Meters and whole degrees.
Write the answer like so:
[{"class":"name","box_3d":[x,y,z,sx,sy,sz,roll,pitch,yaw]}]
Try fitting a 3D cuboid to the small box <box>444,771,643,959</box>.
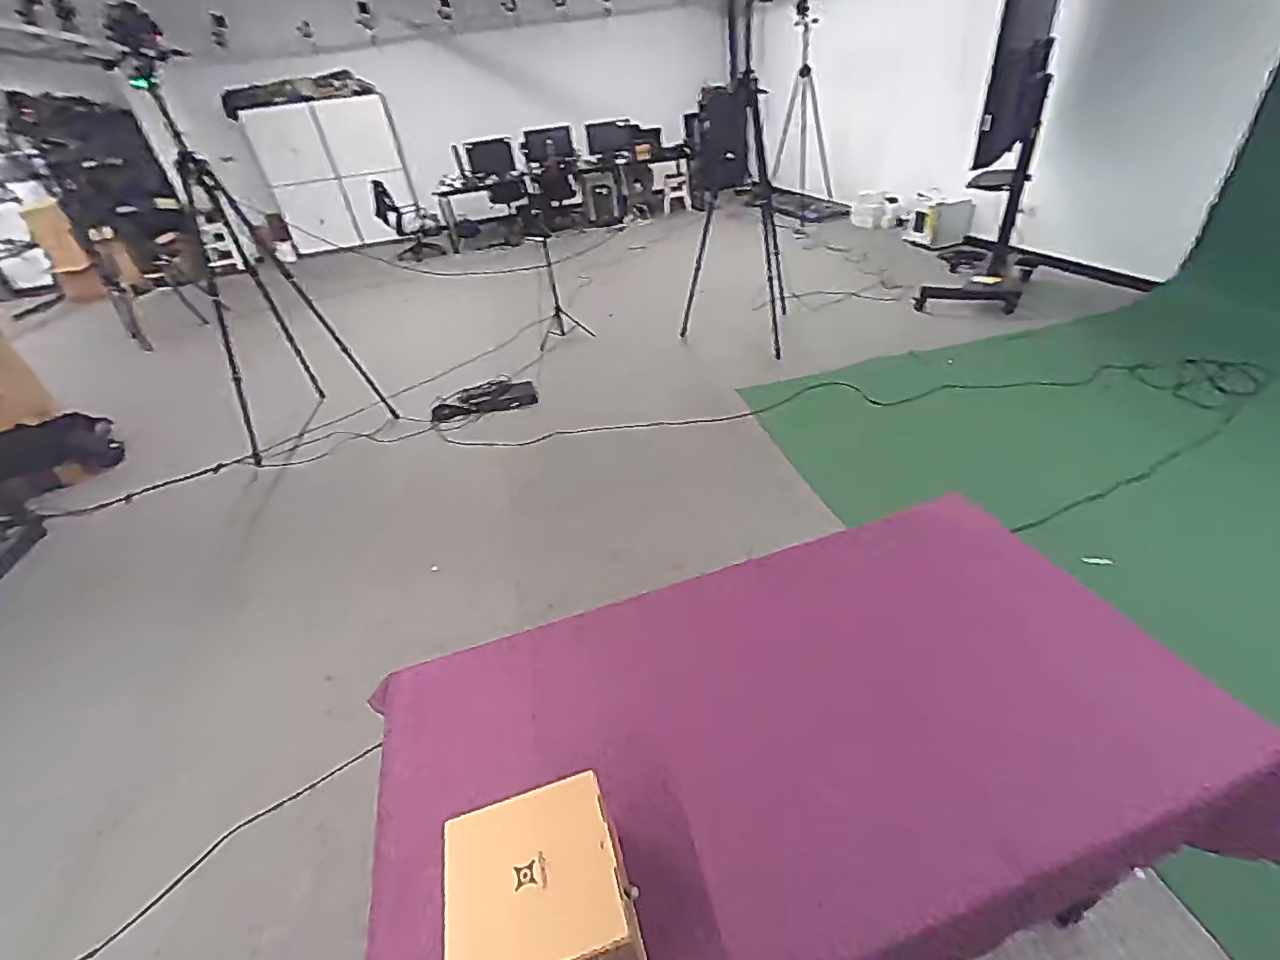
[{"class":"small box","box_3d":[-0.106,0.472,0.606,0.179,0.176,0.168,-14,36,-11]}]
